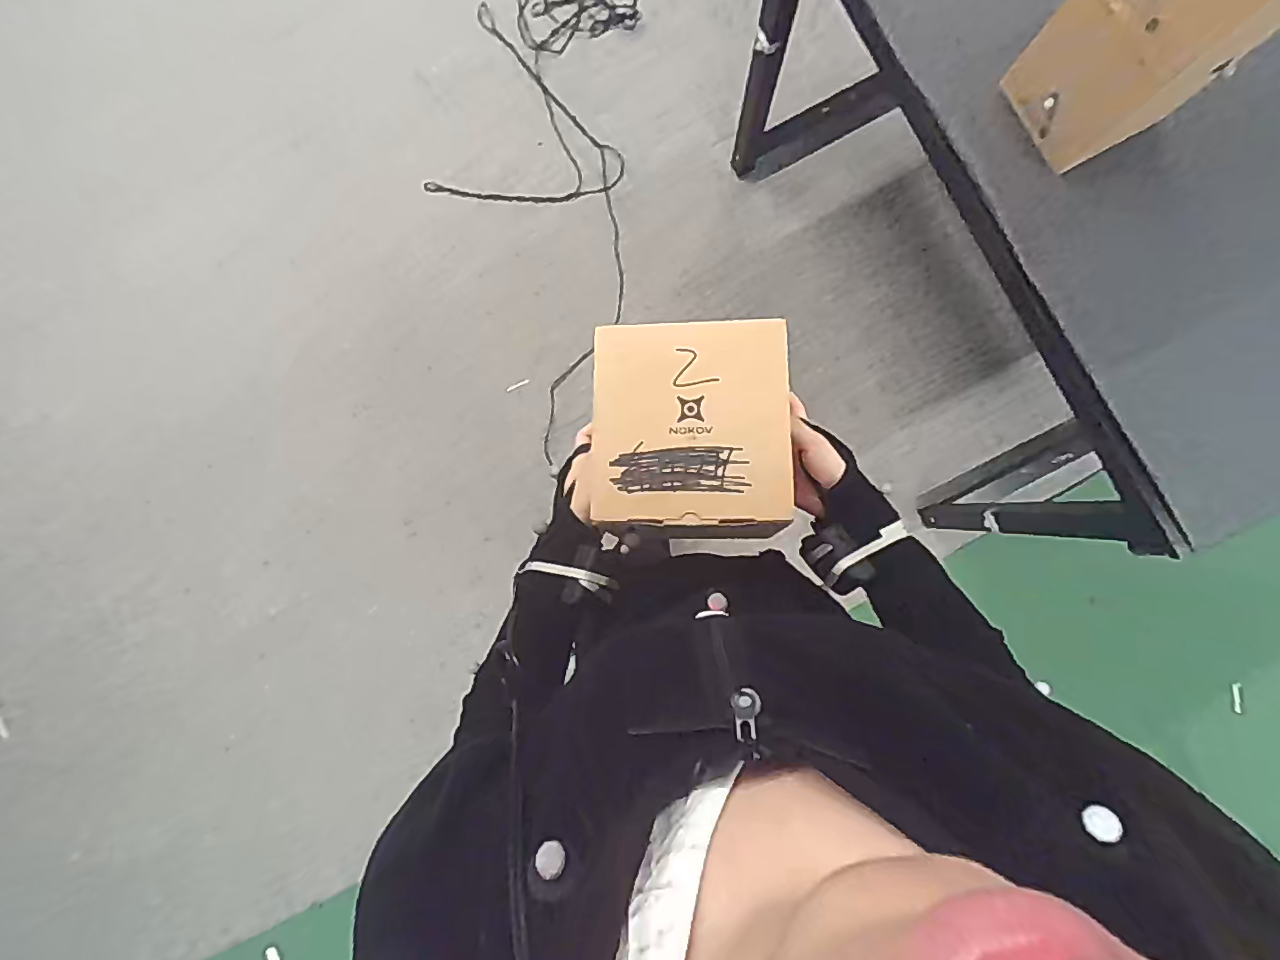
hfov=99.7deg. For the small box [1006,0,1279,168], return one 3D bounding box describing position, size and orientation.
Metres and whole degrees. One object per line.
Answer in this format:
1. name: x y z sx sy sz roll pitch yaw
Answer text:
1. small box: 0.635 -0.557 0.701 0.179 0.176 0.168 -28 86 0
